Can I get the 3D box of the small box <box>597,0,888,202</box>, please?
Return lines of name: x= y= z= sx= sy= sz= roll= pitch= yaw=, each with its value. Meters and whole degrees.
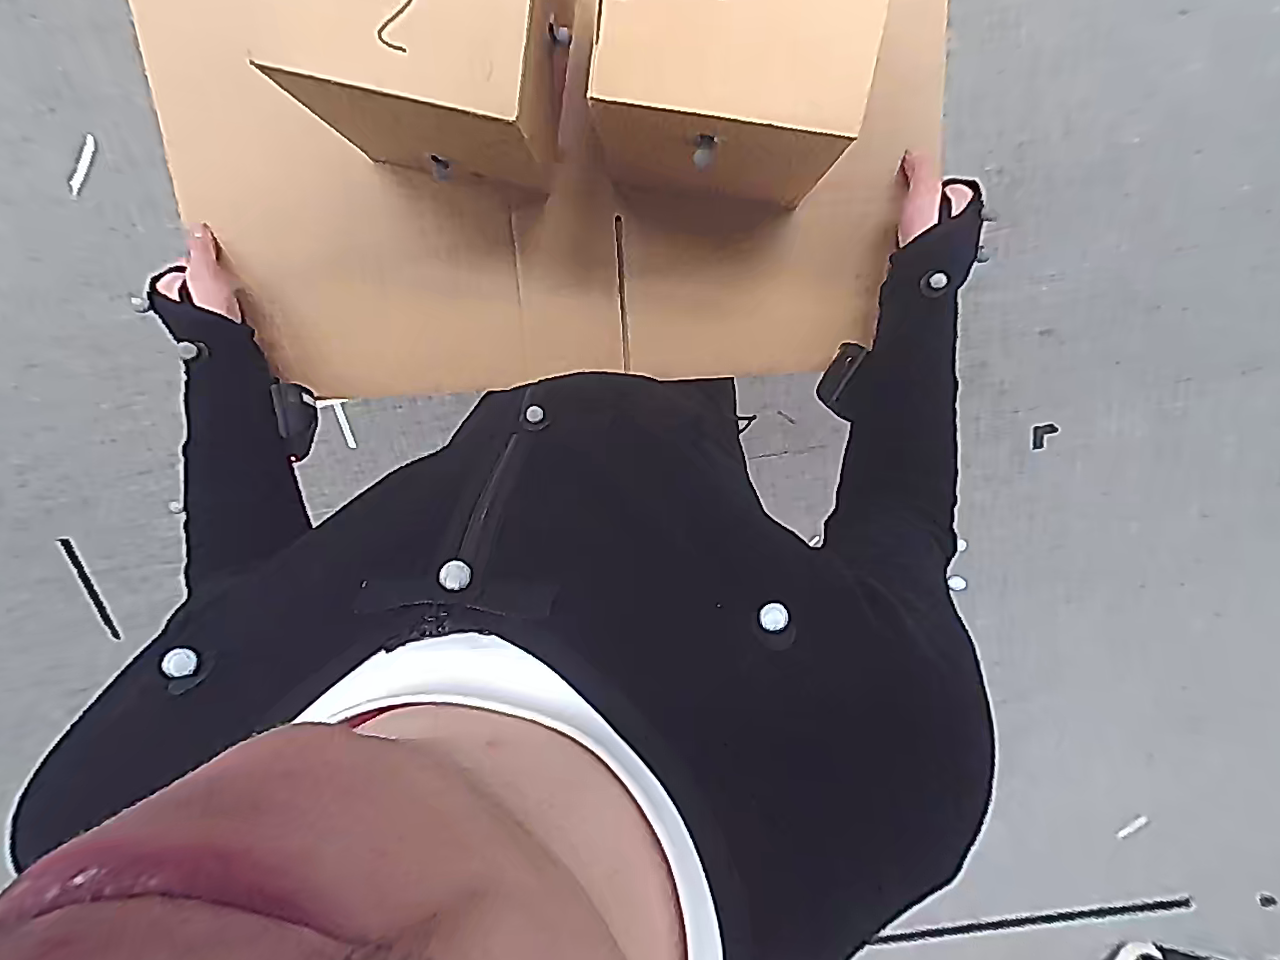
small box: x=0.073 y=-0.329 z=0.414 sx=0.179 sy=0.176 sz=0.168 roll=9 pitch=104 yaw=2
